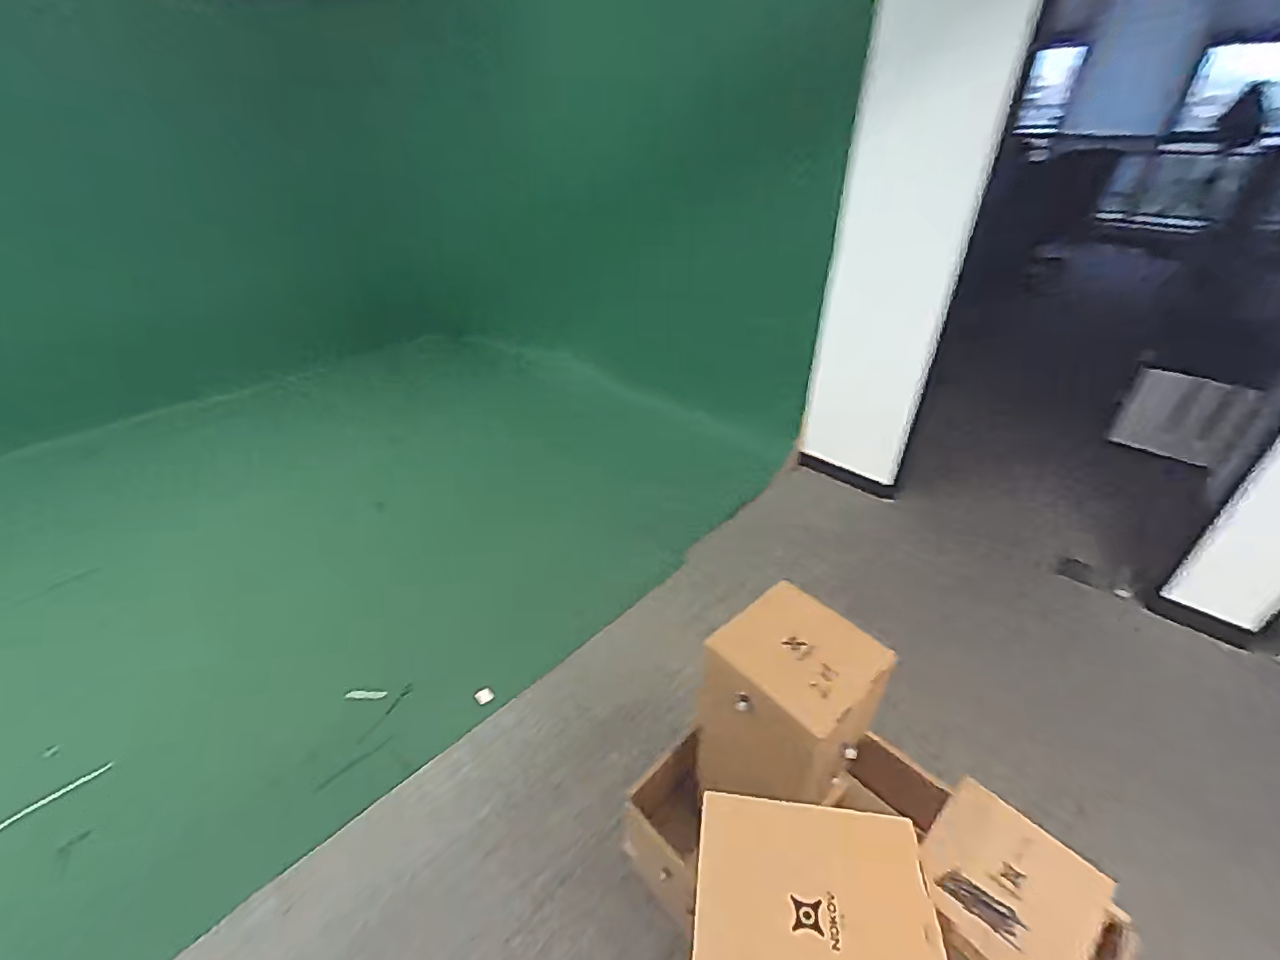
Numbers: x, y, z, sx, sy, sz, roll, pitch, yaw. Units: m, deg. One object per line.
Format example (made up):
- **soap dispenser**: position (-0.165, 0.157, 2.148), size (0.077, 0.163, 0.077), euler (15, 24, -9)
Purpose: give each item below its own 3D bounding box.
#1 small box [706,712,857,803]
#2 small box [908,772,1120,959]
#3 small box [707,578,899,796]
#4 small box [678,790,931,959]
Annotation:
- **small box**: position (0.217, 0.404, 0.823), size (0.179, 0.176, 0.168), euler (-29, 44, -33)
- **small box**: position (0.424, 0.513, 0.656), size (0.179, 0.176, 0.168), euler (-27, 42, -31)
- **small box**: position (0.205, 0.273, 0.724), size (0.168, 0.176, 0.179), euler (-28, 44, -30)
- **small box**: position (0.126, 0.390, 0.444), size (0.179, 0.176, 0.168), euler (1, 32, 10)
